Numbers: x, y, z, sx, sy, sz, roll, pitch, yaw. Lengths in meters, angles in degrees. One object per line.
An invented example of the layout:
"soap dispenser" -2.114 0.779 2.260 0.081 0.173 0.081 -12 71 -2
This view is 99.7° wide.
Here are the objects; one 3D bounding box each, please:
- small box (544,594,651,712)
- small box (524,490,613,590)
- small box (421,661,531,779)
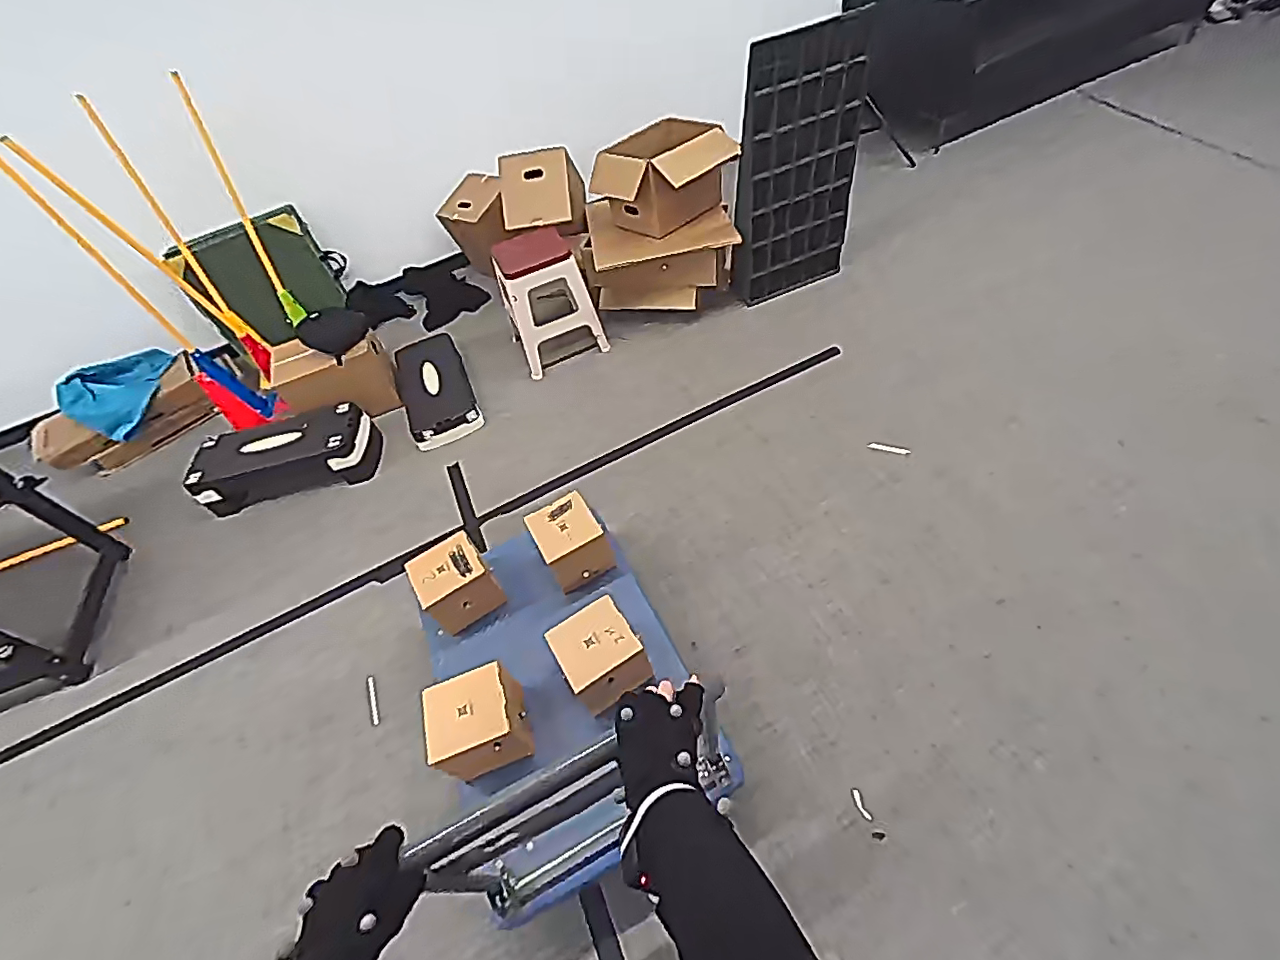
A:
"small box" -0.094 0.408 1.259 0.179 0.176 0.168 -30 52 -13
"small box" -0.192 0.167 1.478 0.168 0.176 0.179 -28 52 -11
"small box" -0.364 0.539 1.207 0.179 0.176 0.168 -20 50 -7
